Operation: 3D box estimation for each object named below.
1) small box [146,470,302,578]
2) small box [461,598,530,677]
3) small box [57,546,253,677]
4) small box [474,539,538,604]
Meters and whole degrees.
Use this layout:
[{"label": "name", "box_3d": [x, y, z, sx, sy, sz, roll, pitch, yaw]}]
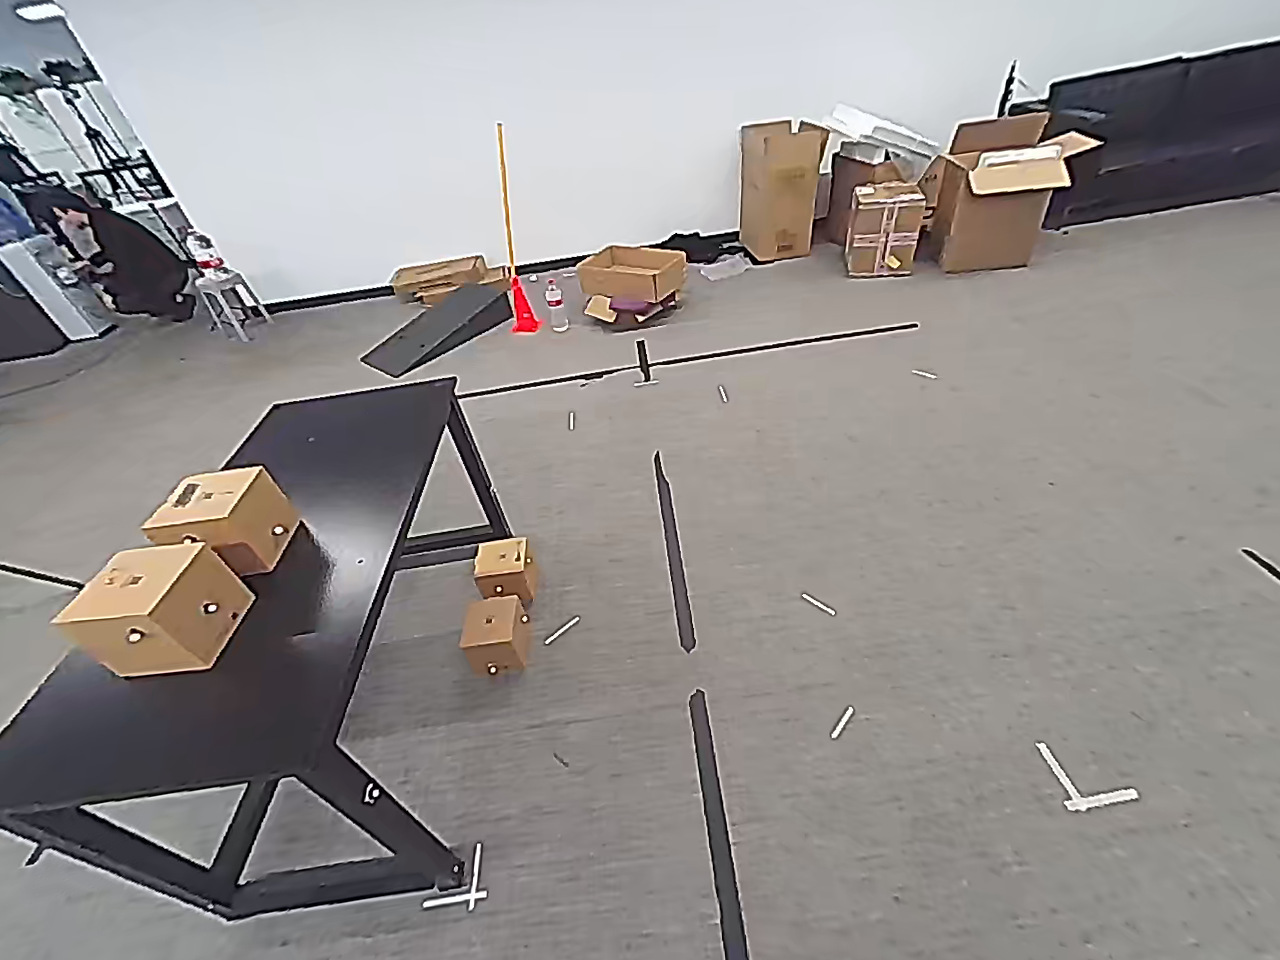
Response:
[{"label": "small box", "box_3d": [-0.891, 0.104, 1.178, 0.179, 0.176, 0.168, -8, 40, 0]}, {"label": "small box", "box_3d": [-0.461, 0.511, 1.753, 0.168, 0.176, 0.179, -9, 41, 1]}, {"label": "small box", "box_3d": [-0.878, 0.246, 1.005, 0.179, 0.176, 0.168, -7, 39, 4]}, {"label": "small box", "box_3d": [-0.478, 0.341, 1.953, 0.179, 0.176, 0.168, -9, 40, 1]}]
